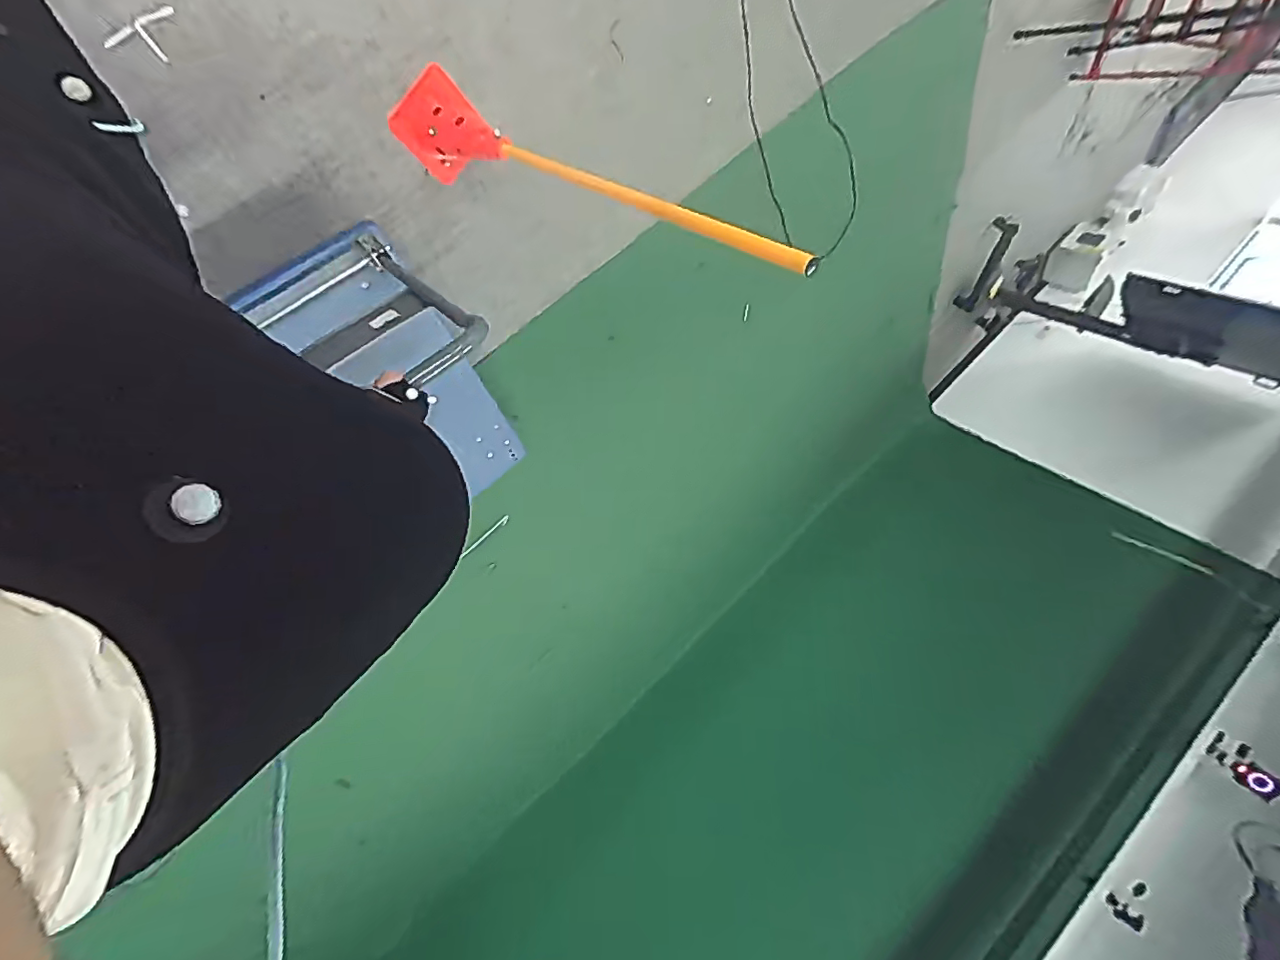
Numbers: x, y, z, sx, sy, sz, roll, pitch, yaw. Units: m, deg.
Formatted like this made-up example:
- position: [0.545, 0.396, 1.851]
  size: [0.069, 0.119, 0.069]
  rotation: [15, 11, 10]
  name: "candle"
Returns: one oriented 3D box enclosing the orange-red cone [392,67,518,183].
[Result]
- position: [-0.395, -0.811, 1.279]
  size: [0.199, 0.360, 0.198]
  rotation: [-52, 145, 0]
  name: "orange-red cone"
